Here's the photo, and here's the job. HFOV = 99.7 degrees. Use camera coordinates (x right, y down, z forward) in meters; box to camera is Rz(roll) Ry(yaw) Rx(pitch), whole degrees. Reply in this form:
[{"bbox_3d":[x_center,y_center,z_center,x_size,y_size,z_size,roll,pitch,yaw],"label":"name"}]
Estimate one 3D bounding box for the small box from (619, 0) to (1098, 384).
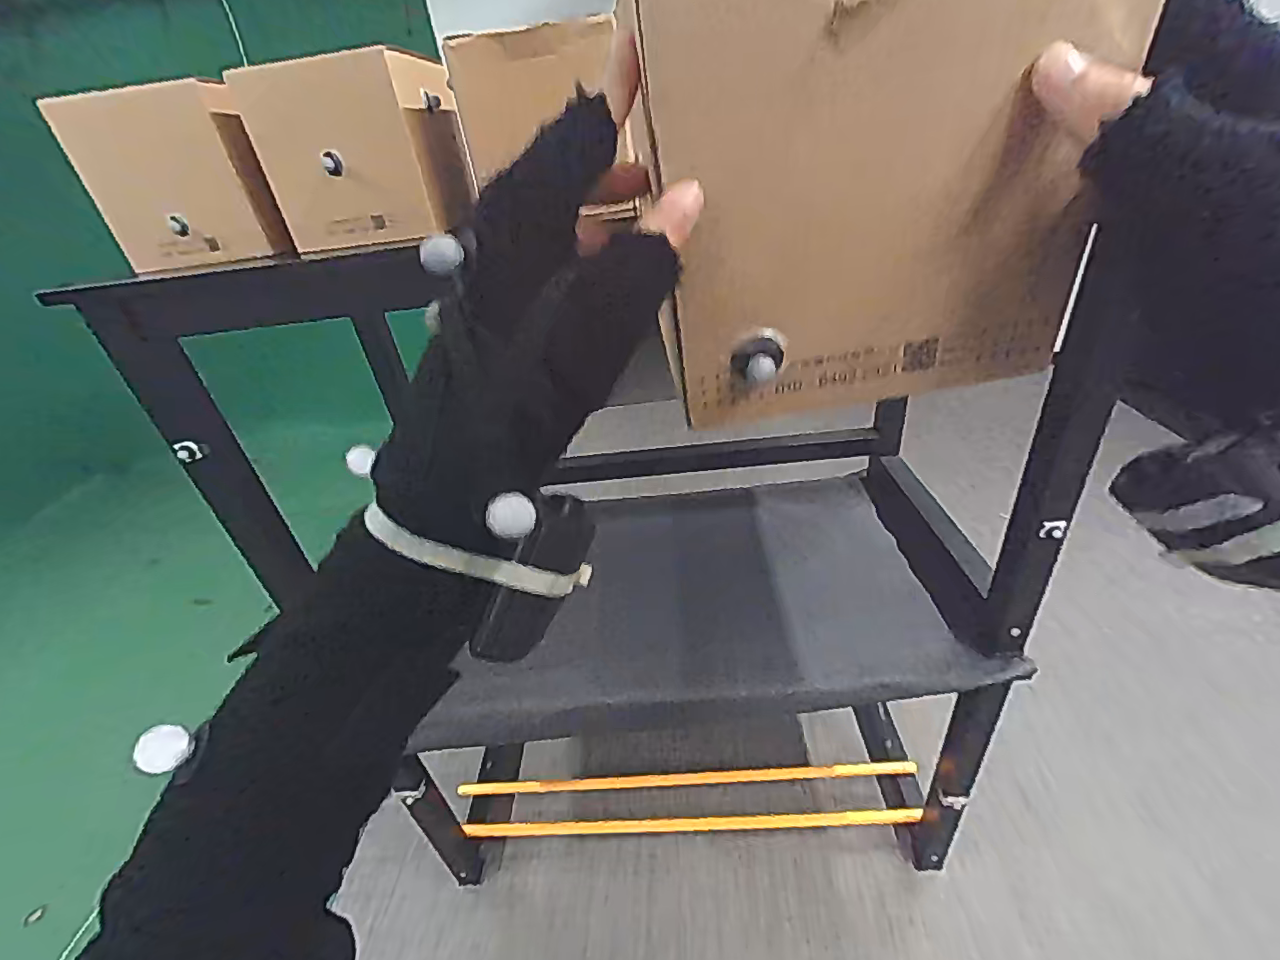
[{"bbox_3d":[0.085,-0.158,0.278,0.168,0.176,0.179,-9,35,2],"label":"small box"}]
